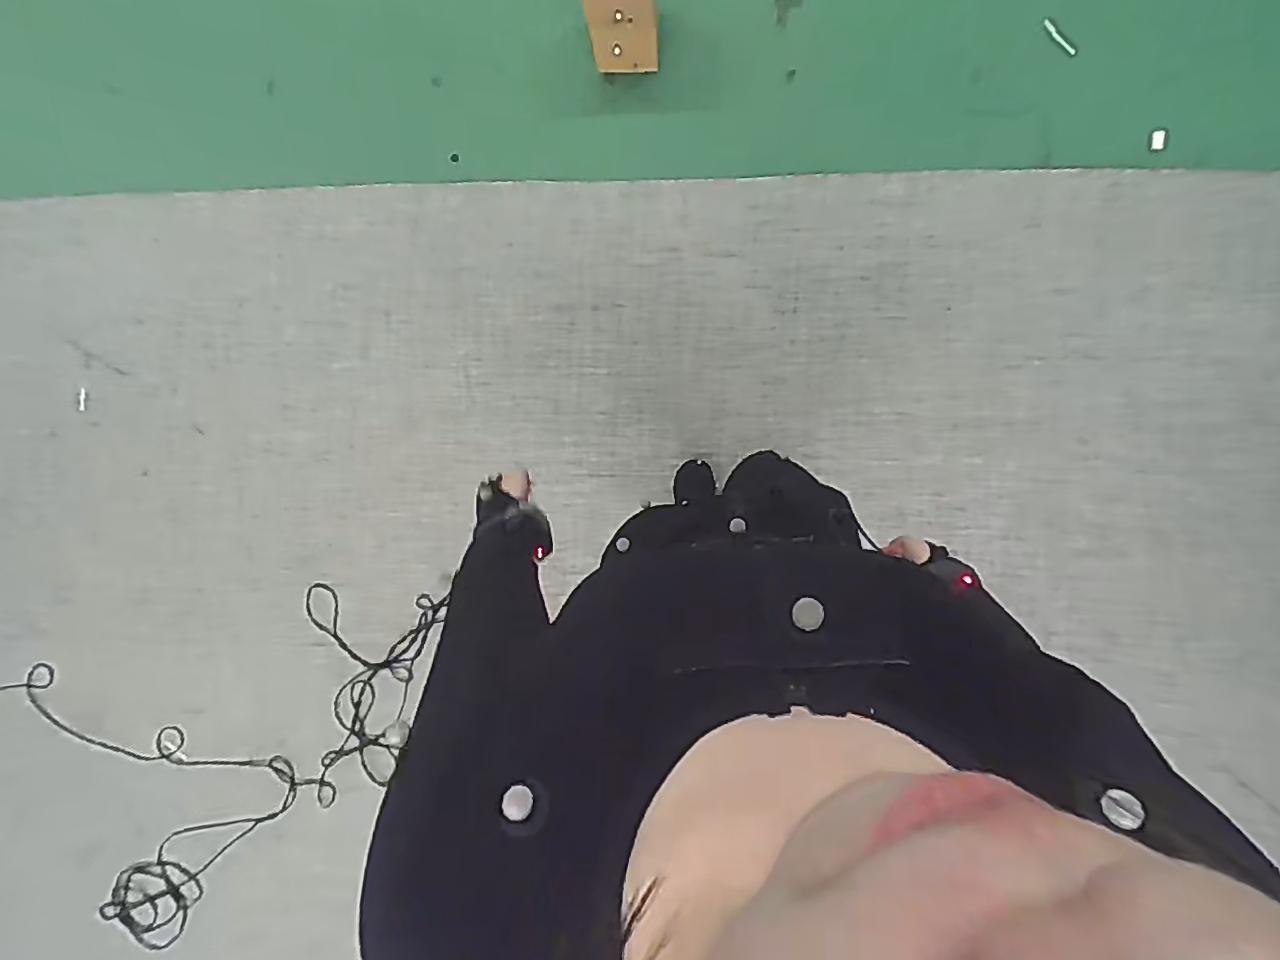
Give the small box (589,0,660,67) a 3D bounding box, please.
[{"bbox_3d":[-0.034,-1.211,1.400,0.168,0.176,0.179,2,91,4],"label":"small box"}]
